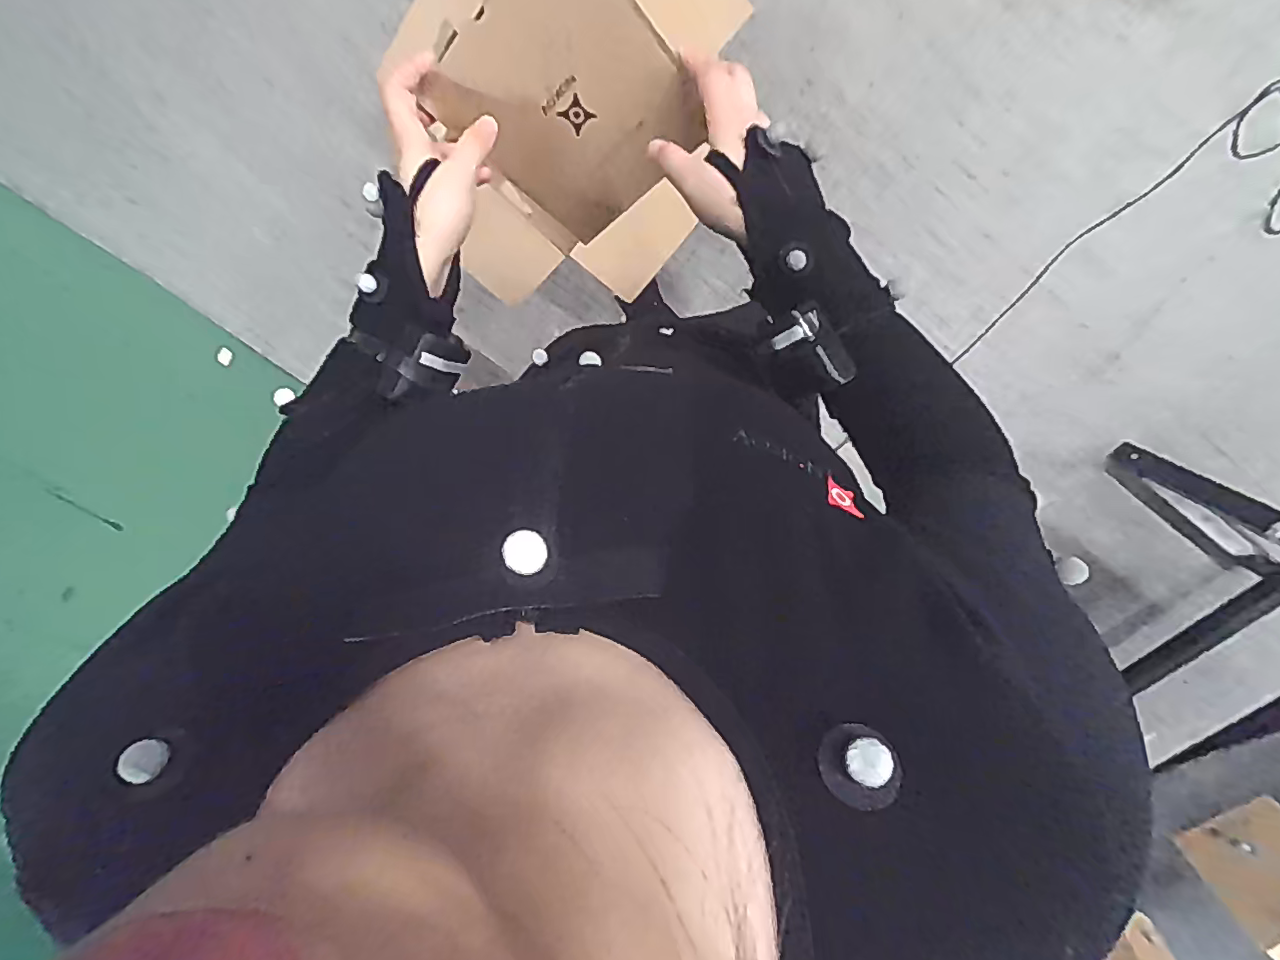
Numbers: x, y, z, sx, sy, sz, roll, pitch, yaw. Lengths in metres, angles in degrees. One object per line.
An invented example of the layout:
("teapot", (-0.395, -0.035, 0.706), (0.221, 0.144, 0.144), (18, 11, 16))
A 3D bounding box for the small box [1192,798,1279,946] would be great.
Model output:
("small box", (1.059, 0.647, 0.851), (0.179, 0.176, 0.168), (38, 111, -11))

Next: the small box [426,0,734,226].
("small box", (-0.044, -0.365, 0.448), (0.168, 0.176, 0.179), (-23, 144, 38))
